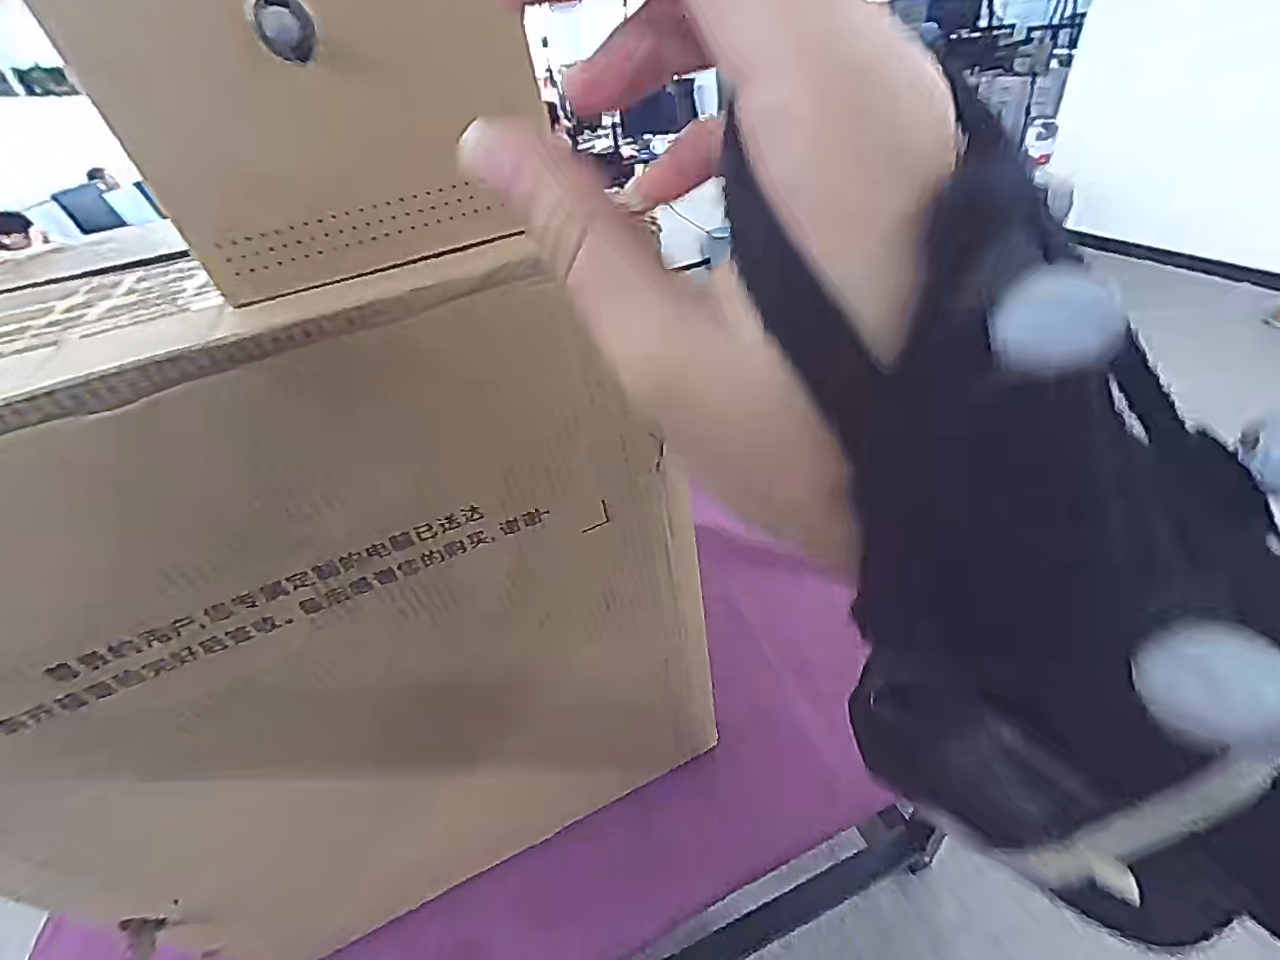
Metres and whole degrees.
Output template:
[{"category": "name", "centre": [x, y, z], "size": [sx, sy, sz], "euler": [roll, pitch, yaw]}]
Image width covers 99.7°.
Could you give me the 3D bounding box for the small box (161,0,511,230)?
[{"category": "small box", "centre": [-0.220, -0.308, 0.415], "size": [0.179, 0.176, 0.168], "euler": [-21, 39, -13]}]
